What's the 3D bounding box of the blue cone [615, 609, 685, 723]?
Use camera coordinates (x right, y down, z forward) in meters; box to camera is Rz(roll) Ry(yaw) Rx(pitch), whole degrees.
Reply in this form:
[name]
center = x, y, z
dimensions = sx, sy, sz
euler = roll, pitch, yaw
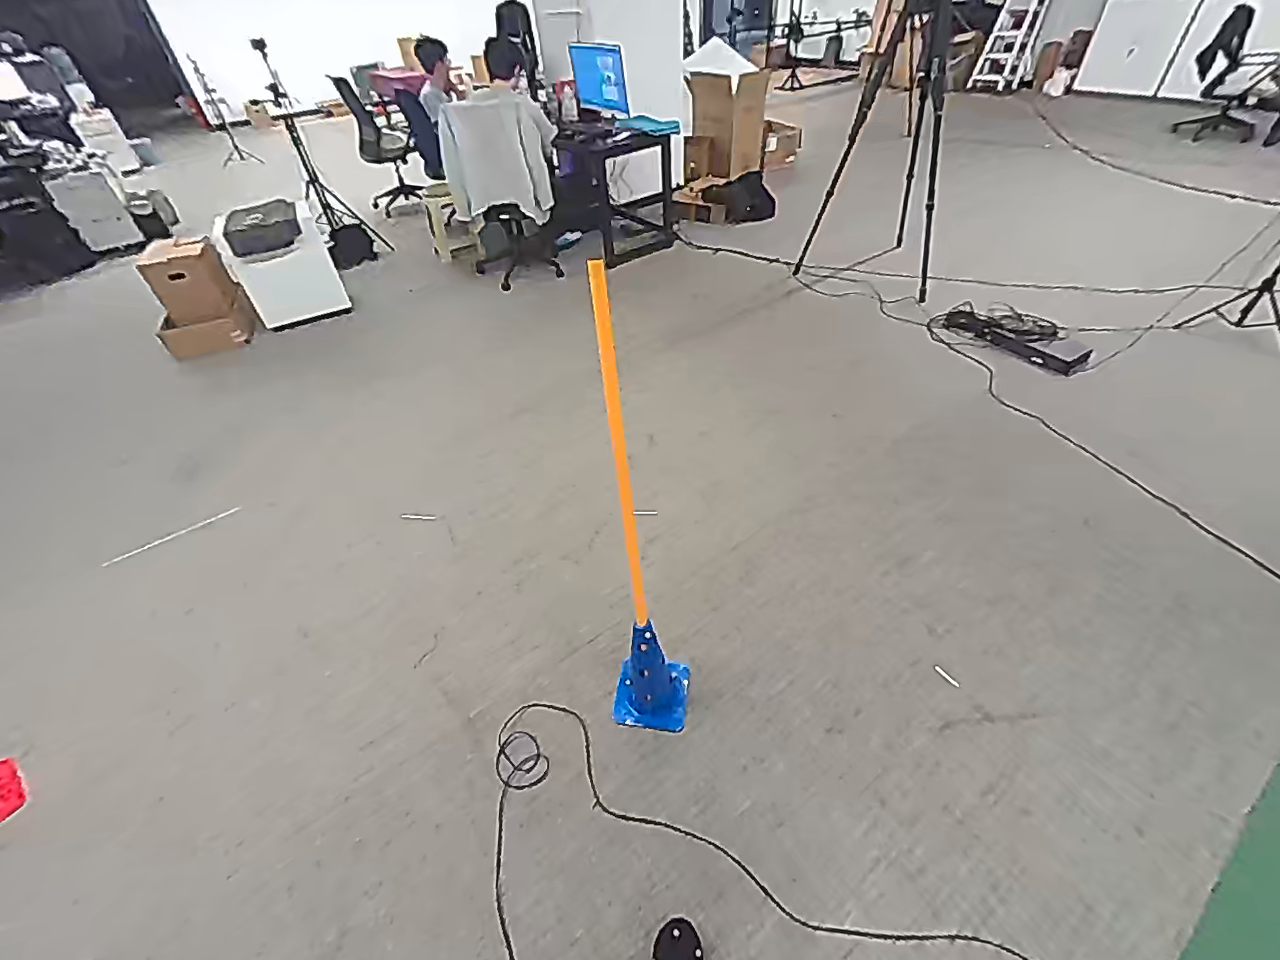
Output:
[blue cone]
center = 0.017, 0.466, 1.424
dimensions = 0.192, 0.380, 0.193
euler = 3, 41, 9
